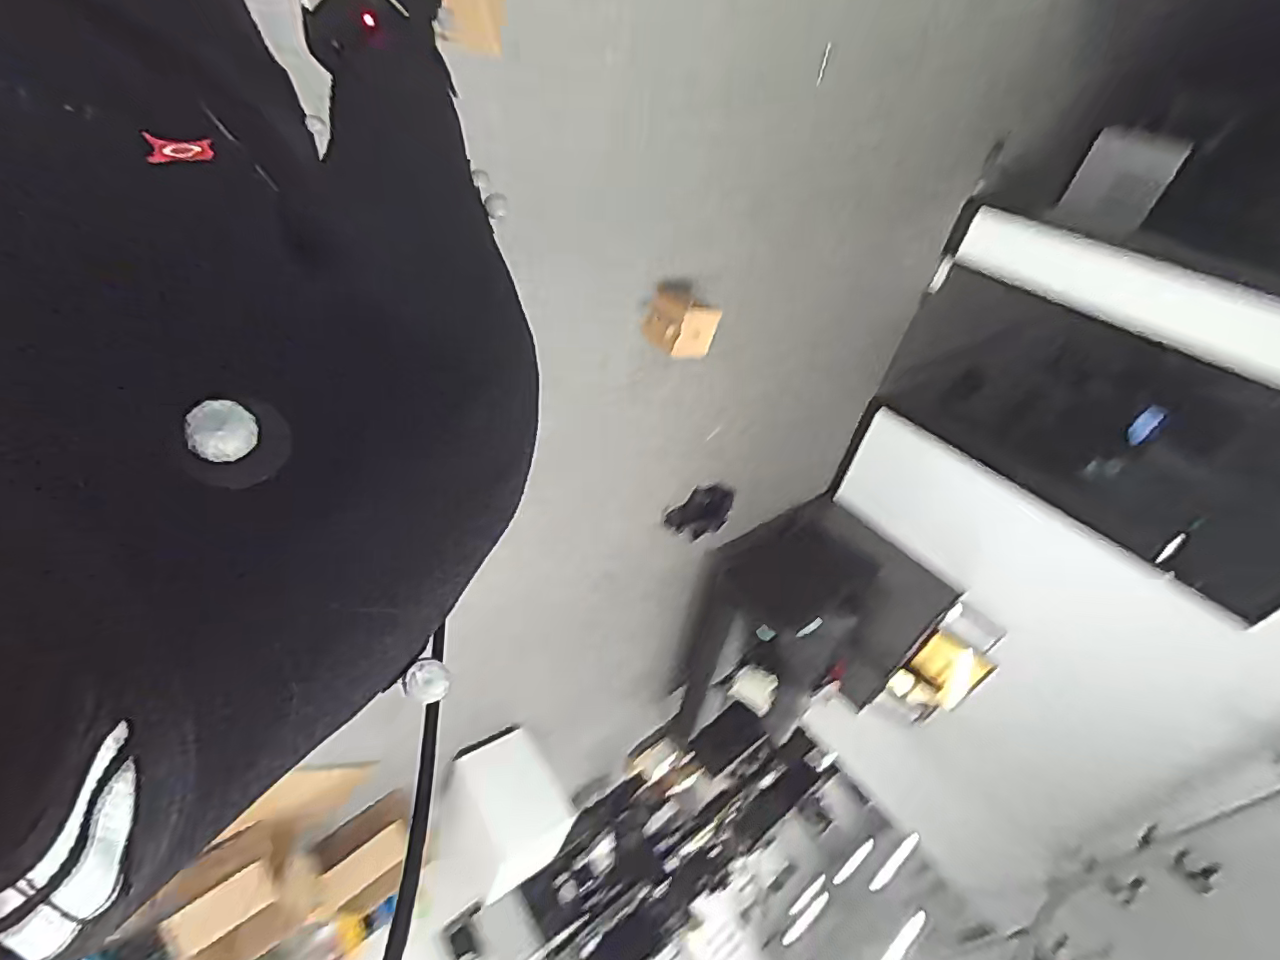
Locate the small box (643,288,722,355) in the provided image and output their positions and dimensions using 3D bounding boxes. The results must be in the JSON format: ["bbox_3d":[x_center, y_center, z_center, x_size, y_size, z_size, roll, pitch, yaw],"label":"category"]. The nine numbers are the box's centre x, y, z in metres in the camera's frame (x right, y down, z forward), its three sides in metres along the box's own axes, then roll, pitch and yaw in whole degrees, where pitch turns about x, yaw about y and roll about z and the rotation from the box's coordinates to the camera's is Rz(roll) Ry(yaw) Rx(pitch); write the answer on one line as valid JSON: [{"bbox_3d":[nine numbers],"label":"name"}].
[{"bbox_3d":[0.142,-0.545,1.853,0.179,0.176,0.168,-14,136,-39],"label":"small box"}]
